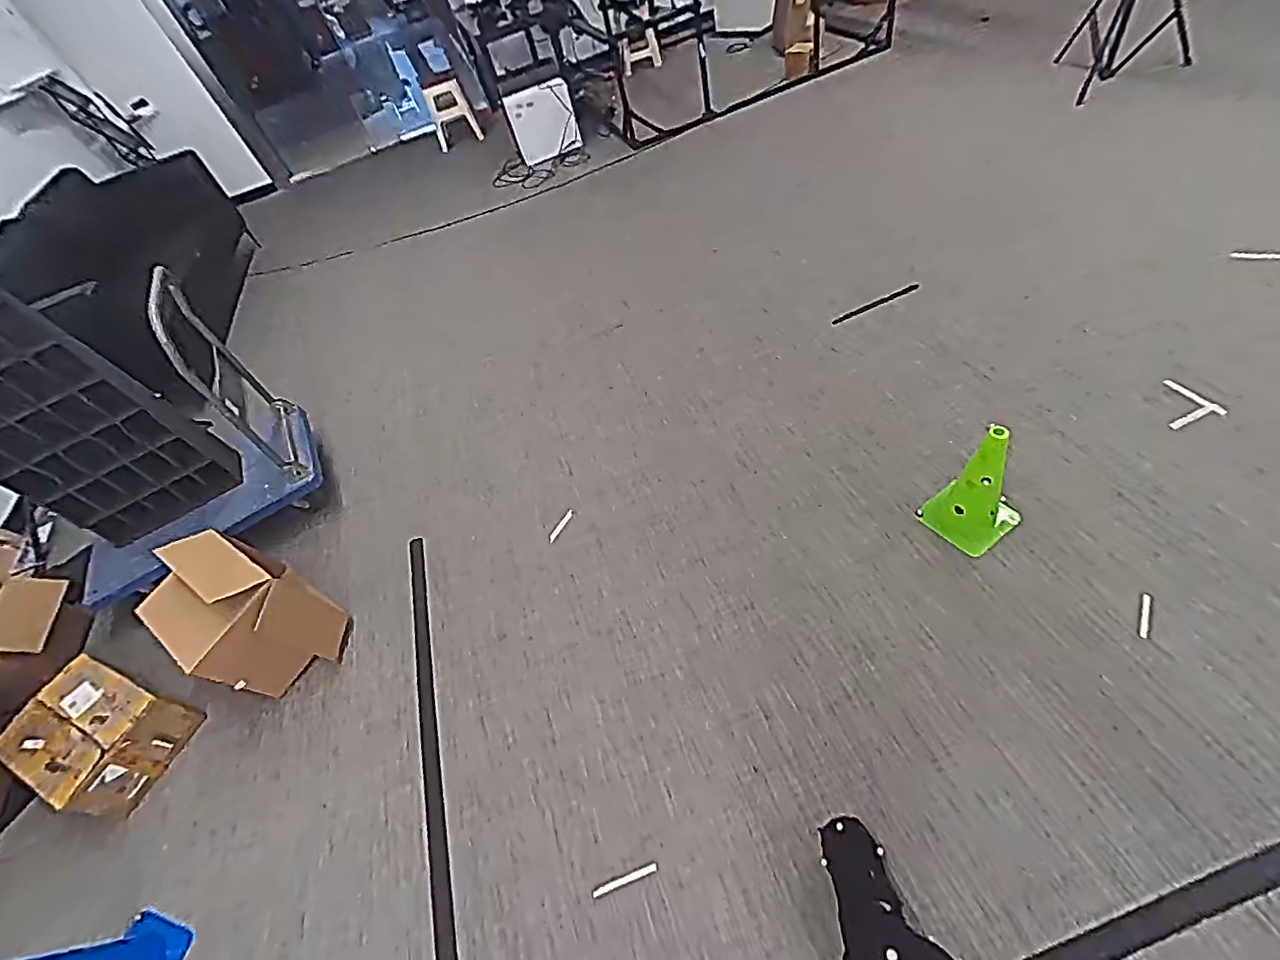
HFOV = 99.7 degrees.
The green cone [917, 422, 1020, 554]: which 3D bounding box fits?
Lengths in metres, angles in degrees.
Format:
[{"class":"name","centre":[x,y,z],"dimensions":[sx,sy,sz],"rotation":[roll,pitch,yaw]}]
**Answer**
[{"class":"green cone","centre":[0.887,-0.008,1.397],"dimensions":[0.202,0.368,0.200],"rotation":[-35,51,-13]}]
